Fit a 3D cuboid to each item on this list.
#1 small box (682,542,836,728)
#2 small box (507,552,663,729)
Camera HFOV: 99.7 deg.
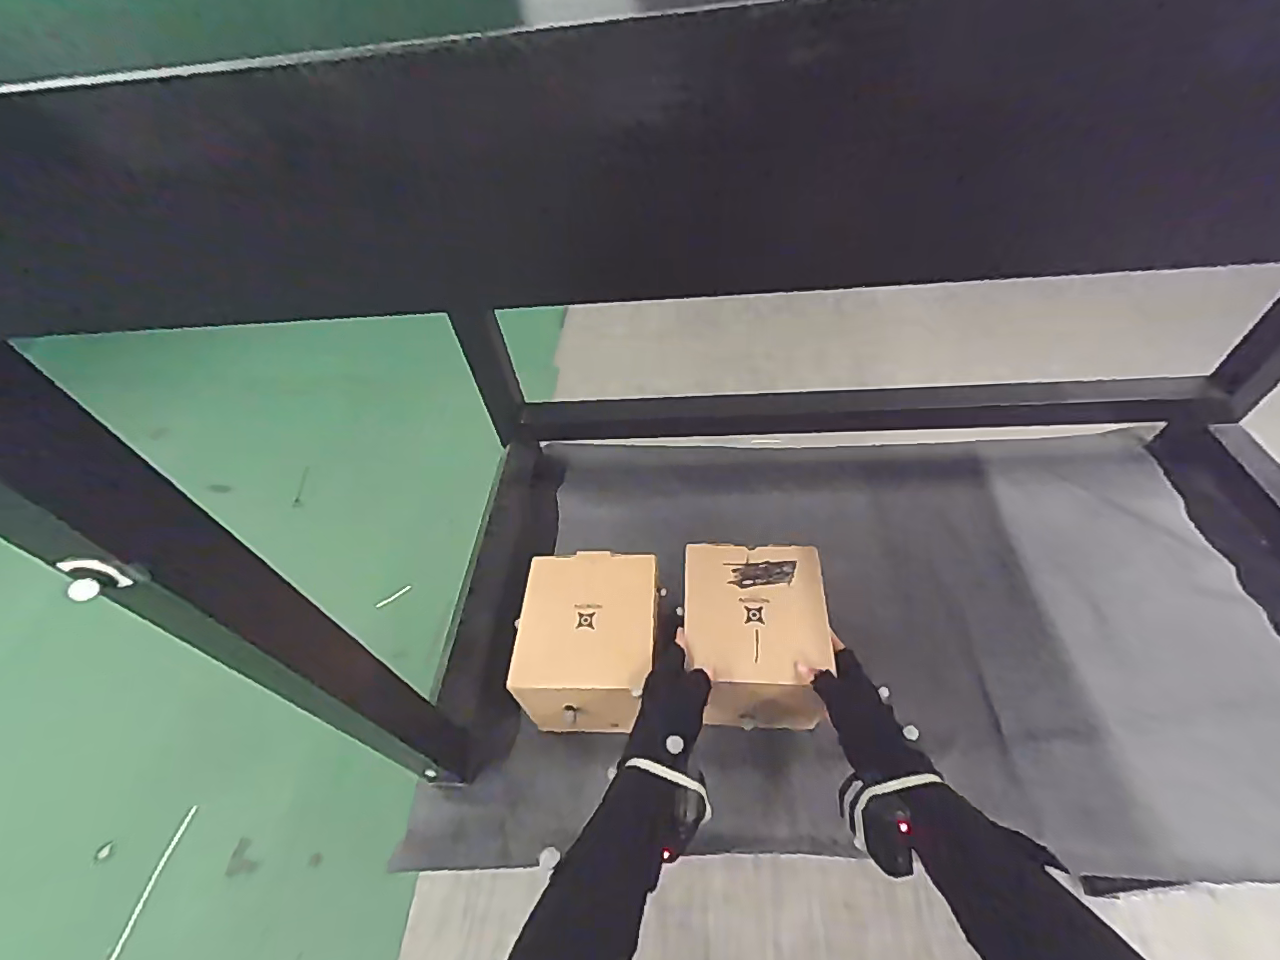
[{"bbox_3d":[0.140,0.198,0.691,0.168,0.176,0.179,-1,51,7],"label":"small box"},{"bbox_3d":[-0.057,0.213,0.708,0.168,0.176,0.179,-2,49,6],"label":"small box"}]
